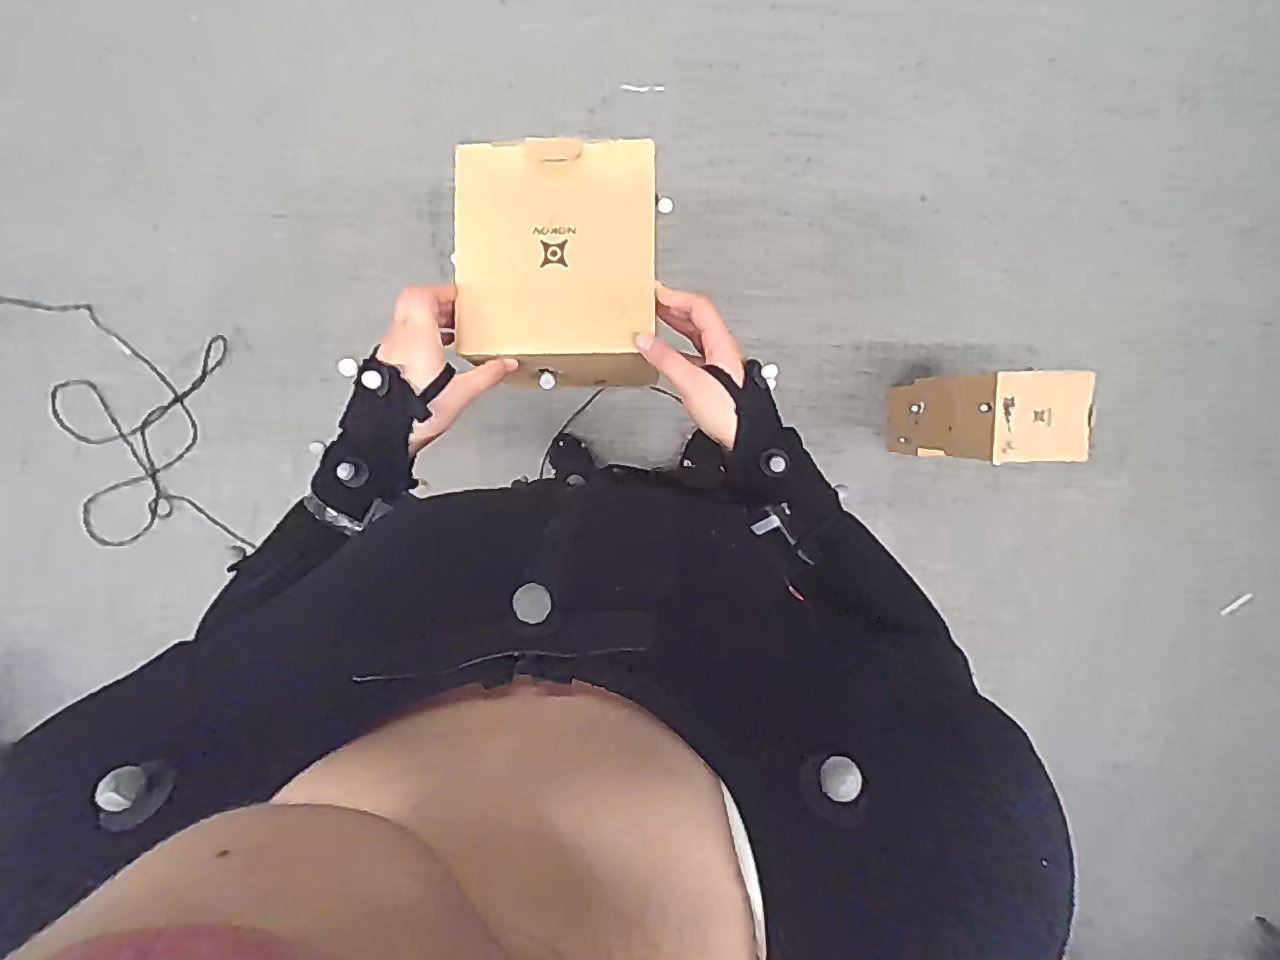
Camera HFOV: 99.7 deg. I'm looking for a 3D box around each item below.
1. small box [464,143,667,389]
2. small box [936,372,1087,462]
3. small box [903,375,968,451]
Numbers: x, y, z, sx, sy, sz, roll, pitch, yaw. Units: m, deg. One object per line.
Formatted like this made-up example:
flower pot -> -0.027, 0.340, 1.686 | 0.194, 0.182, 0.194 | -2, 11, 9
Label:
small box -> -0.058, -0.185, 0.518 | 0.168, 0.176, 0.179 | 0, 89, 1
small box -> 0.722, -0.124, 1.067 | 0.179, 0.176, 0.168 | 0, 96, 0
small box -> 0.729, -0.151, 1.229 | 0.179, 0.176, 0.168 | 0, 96, 1
